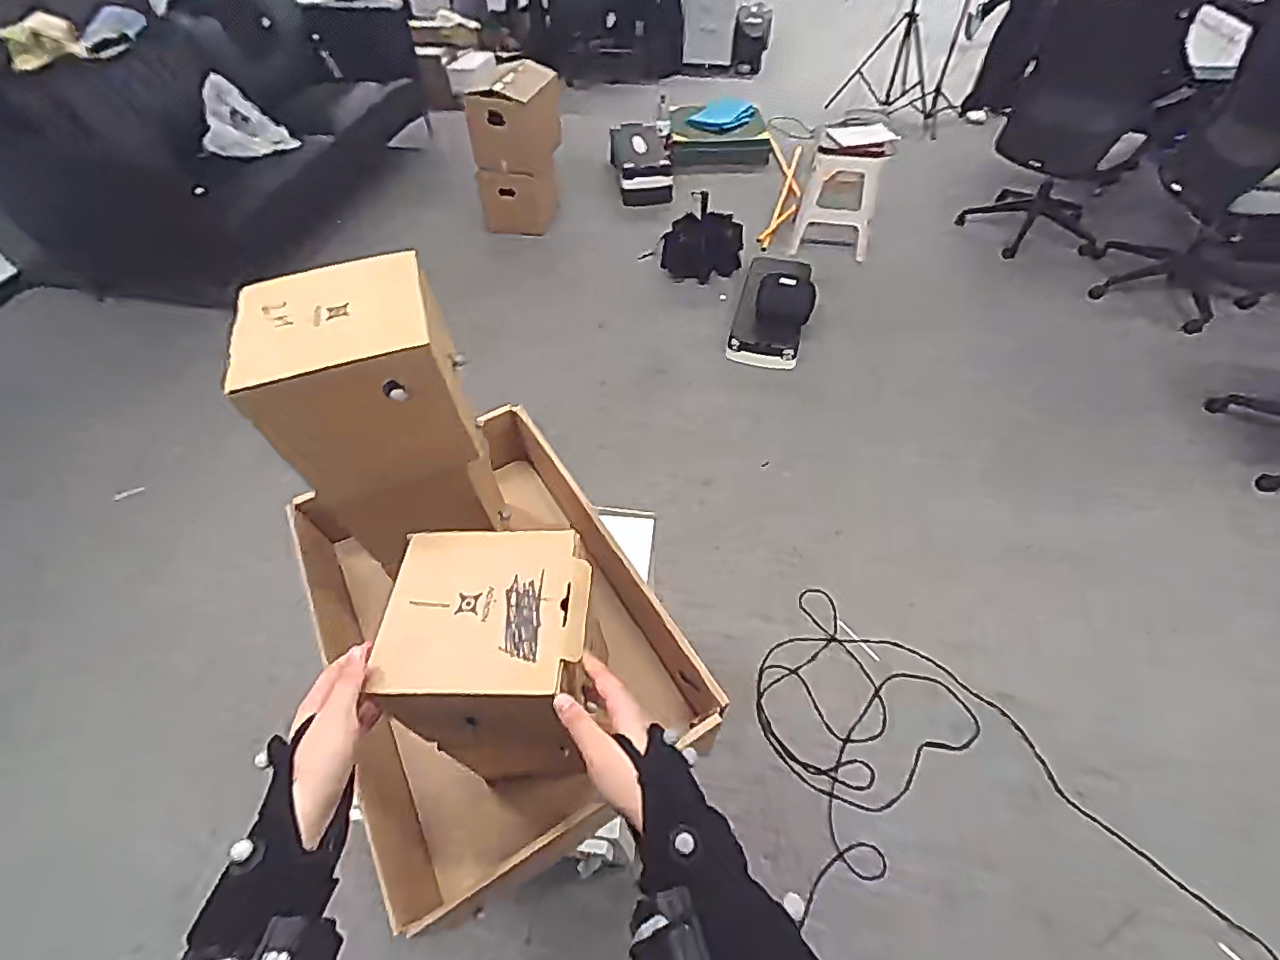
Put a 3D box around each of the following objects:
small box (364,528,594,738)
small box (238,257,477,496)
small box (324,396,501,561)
[{"bbox_3d":[-0.148,0.166,0.579,0.179,0.176,0.168,-1,50,5],"label":"small box"},{"bbox_3d":[-0.290,-0.109,0.593,0.179,0.176,0.168,-17,53,-9],"label":"small box"},{"bbox_3d":[-0.296,-0.019,0.732,0.168,0.176,0.179,-15,55,-6],"label":"small box"}]
